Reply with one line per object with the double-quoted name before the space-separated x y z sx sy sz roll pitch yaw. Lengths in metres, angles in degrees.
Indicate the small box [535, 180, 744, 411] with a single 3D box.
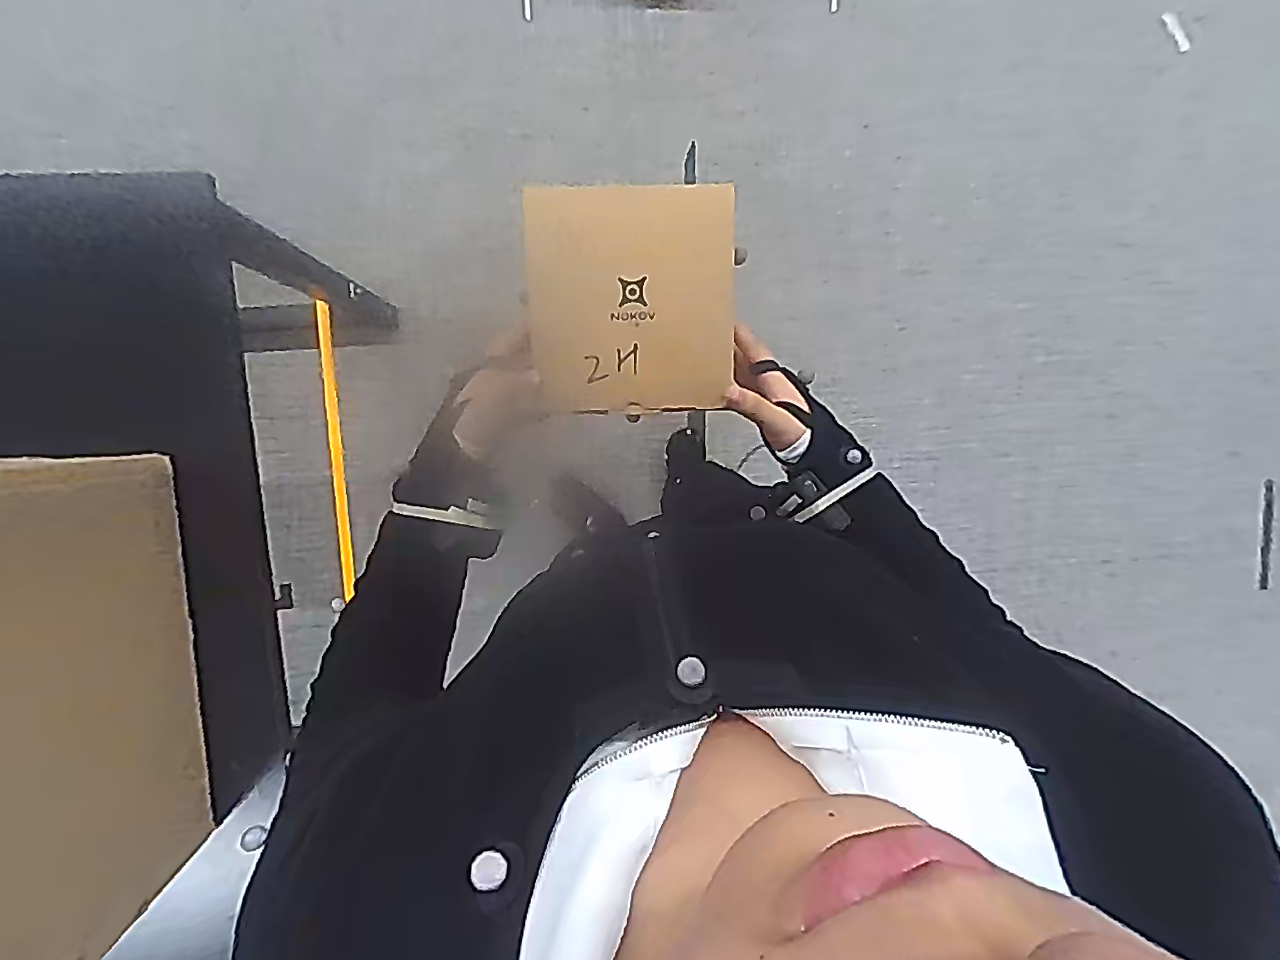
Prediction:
"small box" -0.001 -0.157 0.507 0.168 0.176 0.179 -2 101 0
